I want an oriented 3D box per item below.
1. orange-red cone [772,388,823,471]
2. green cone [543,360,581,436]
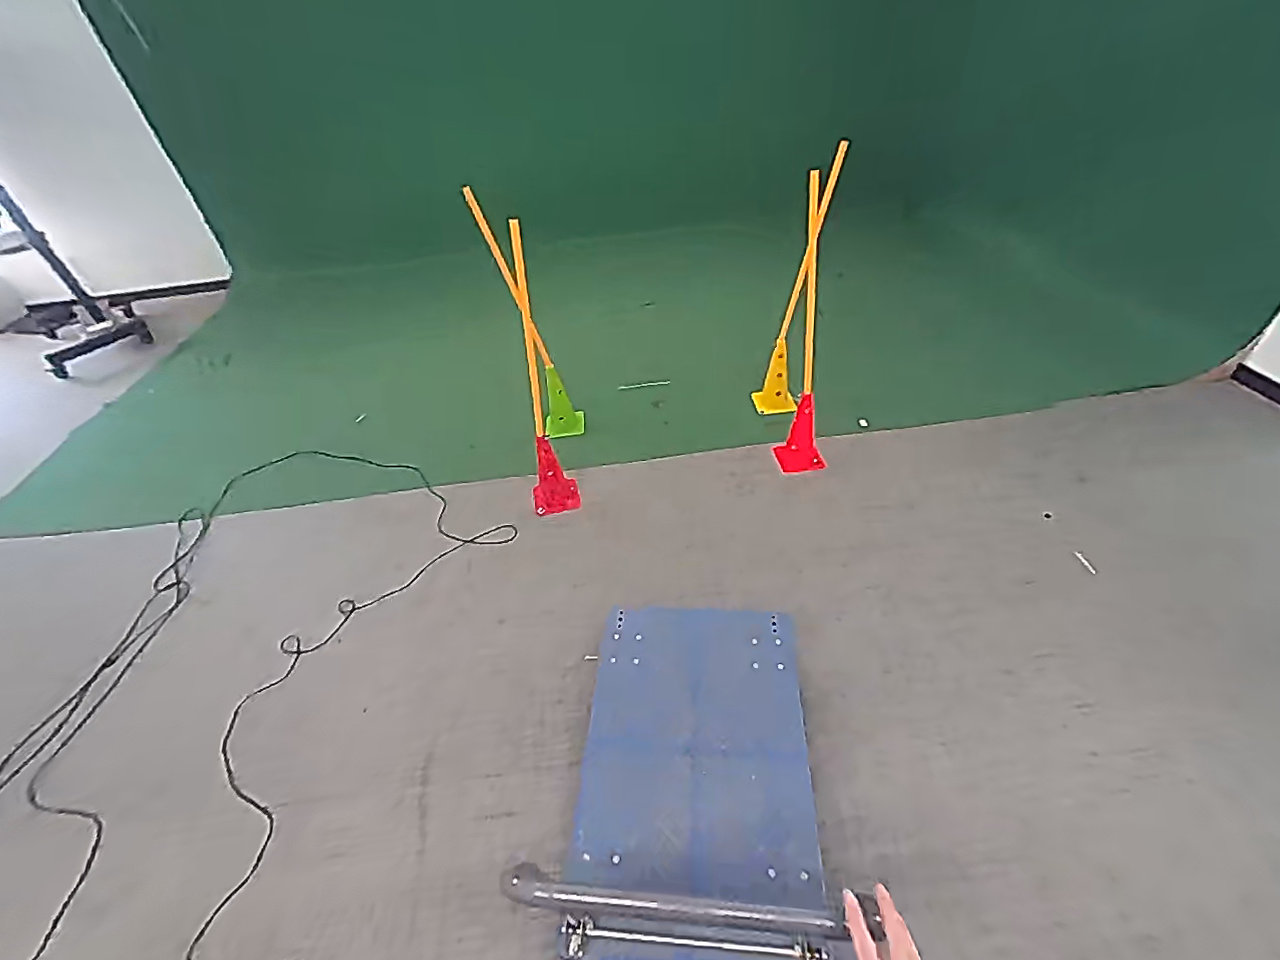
[{"bbox_3d":[0.704,-0.240,2.357,0.198,0.360,0.199,-7,40,-1],"label":"orange-red cone"},{"bbox_3d":[-0.420,-0.426,2.700,0.200,0.368,0.202,-8,41,0],"label":"green cone"}]
